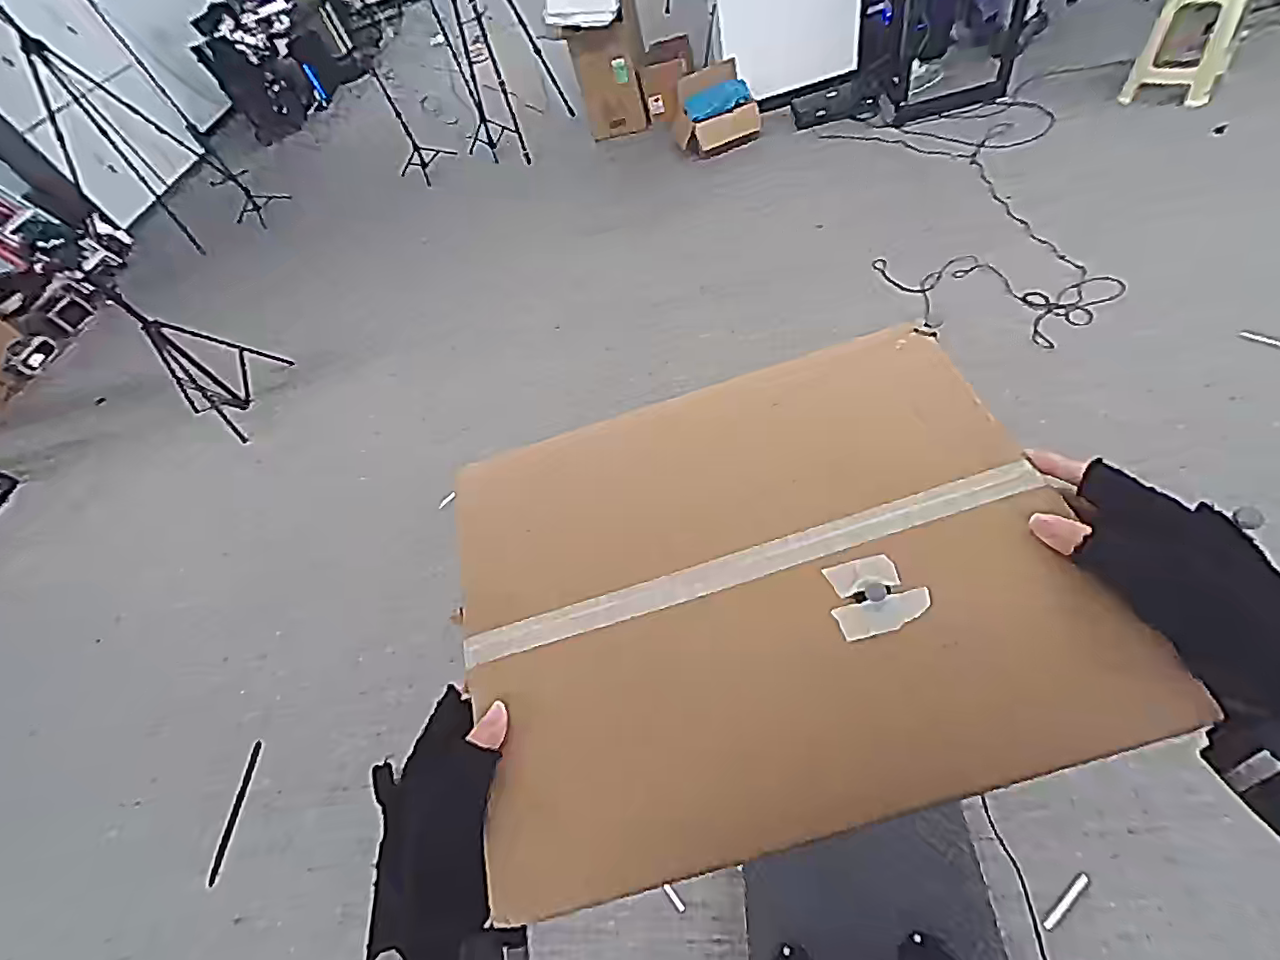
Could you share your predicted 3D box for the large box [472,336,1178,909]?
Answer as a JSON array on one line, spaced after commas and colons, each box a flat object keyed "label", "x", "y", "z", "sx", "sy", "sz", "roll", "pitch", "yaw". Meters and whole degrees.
[{"label": "large box", "x": 0.106, "y": 0.136, "z": 0.511, "sx": 0.408, "sy": 0.320, "sz": 0.320, "roll": -18, "pitch": 59, "yaw": 2}]
